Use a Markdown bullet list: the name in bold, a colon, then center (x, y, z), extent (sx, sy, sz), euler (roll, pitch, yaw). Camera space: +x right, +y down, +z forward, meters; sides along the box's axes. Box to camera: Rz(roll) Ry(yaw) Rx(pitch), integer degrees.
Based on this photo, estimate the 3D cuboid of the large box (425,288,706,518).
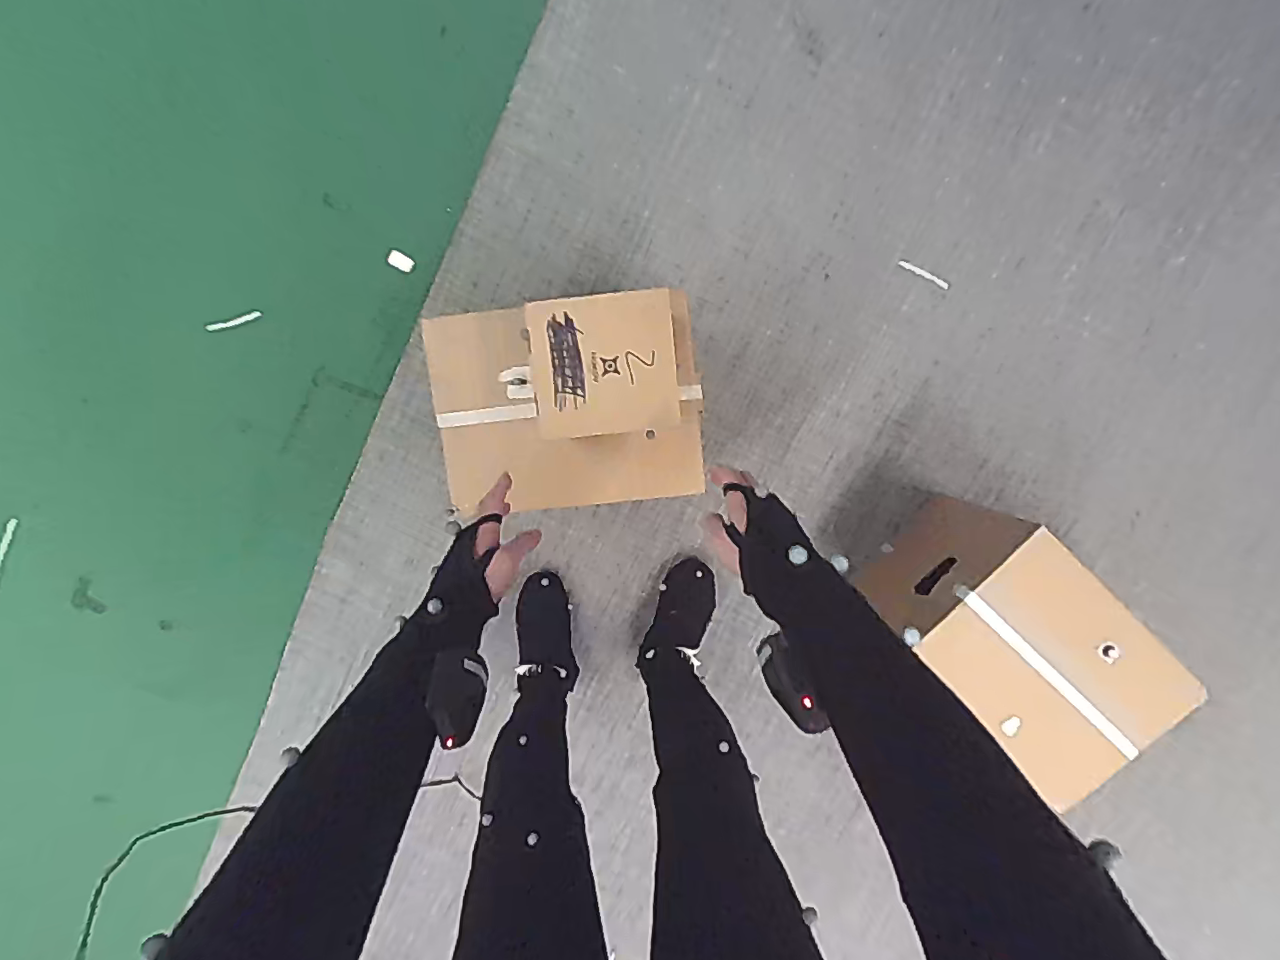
- **large box**: center (-0.106, -0.135, 0.974), extent (0.408, 0.320, 0.320), euler (-6, 98, 3)
